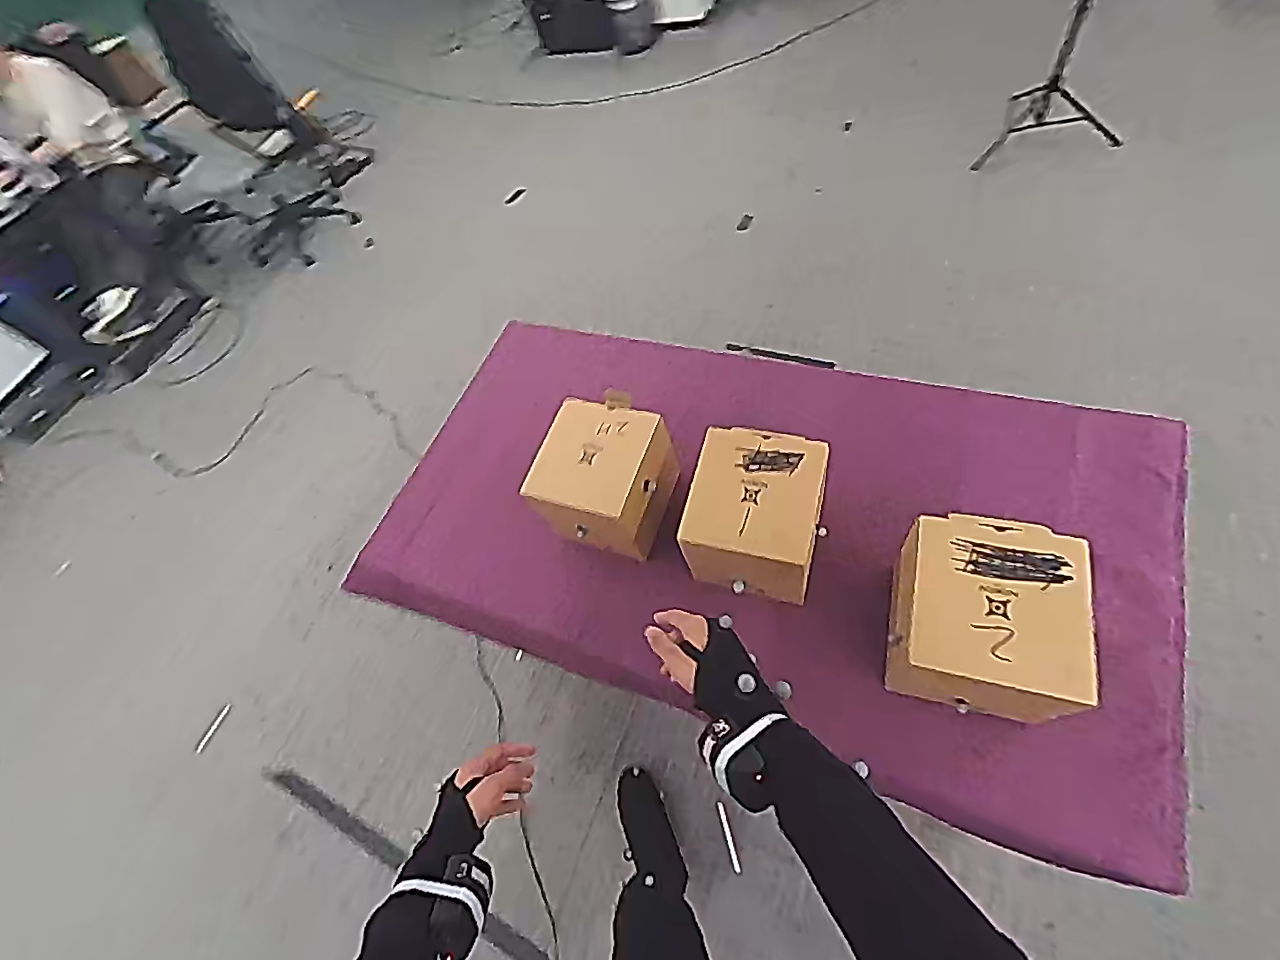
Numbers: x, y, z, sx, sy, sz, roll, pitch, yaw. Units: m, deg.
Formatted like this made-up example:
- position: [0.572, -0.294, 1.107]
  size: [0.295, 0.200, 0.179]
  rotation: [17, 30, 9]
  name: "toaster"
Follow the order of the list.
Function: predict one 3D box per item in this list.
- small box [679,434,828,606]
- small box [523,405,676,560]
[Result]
- position: [0.167, 0.060, 0.778]
  size: [0.168, 0.176, 0.179]
  rotation: [10, 64, 20]
  name: "small box"
- position: [-0.052, 0.009, 0.866]
  size: [0.168, 0.176, 0.179]
  rotation: [14, 65, 21]
  name: "small box"
